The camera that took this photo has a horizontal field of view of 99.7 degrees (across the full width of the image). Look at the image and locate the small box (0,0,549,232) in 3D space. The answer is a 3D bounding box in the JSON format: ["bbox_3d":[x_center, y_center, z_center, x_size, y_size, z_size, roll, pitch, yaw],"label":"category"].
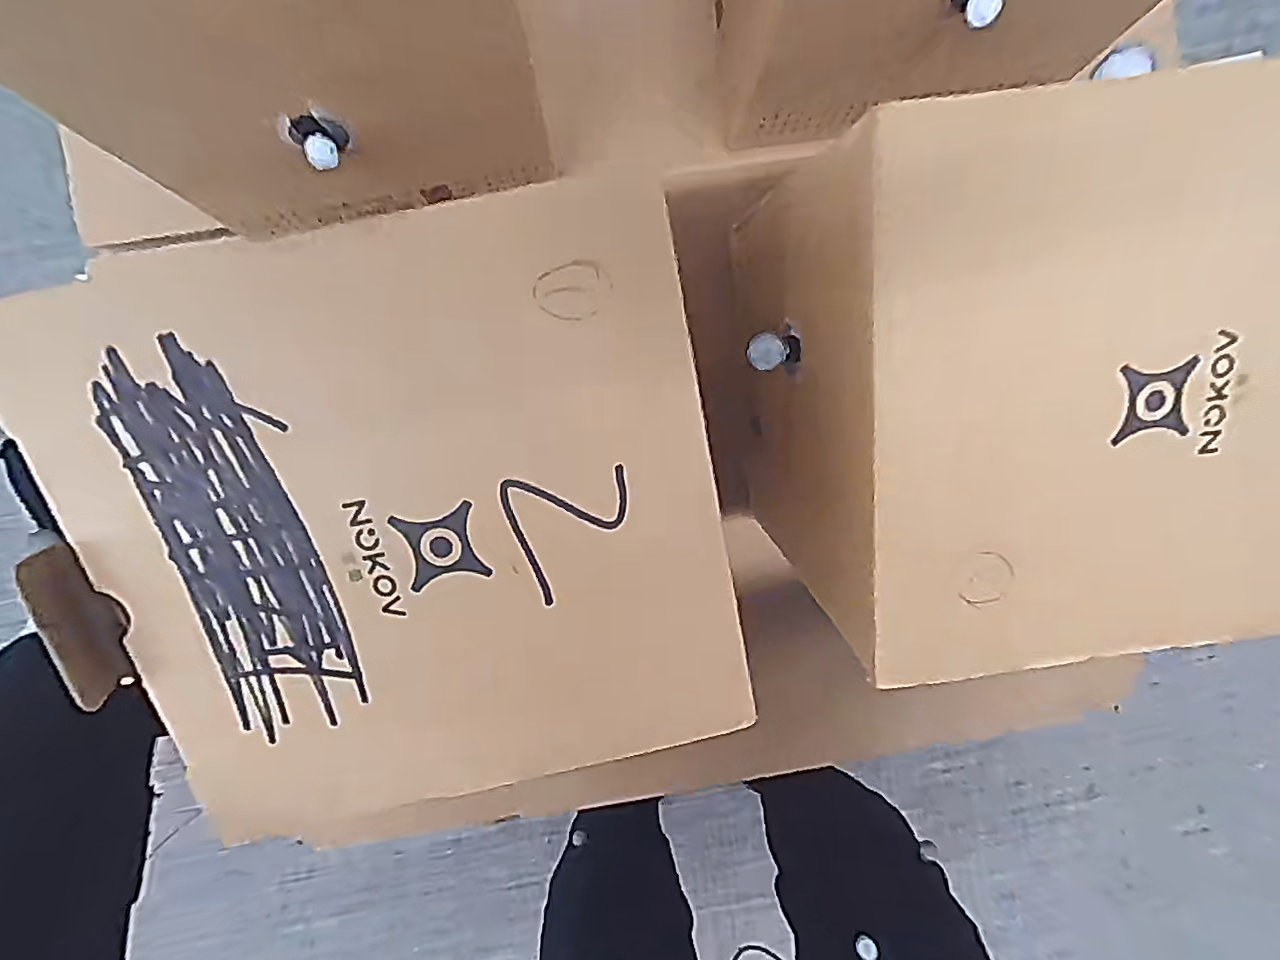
[{"bbox_3d":[-0.138,-0.216,0.205,0.168,0.176,0.179,-11,91,-1],"label":"small box"}]
